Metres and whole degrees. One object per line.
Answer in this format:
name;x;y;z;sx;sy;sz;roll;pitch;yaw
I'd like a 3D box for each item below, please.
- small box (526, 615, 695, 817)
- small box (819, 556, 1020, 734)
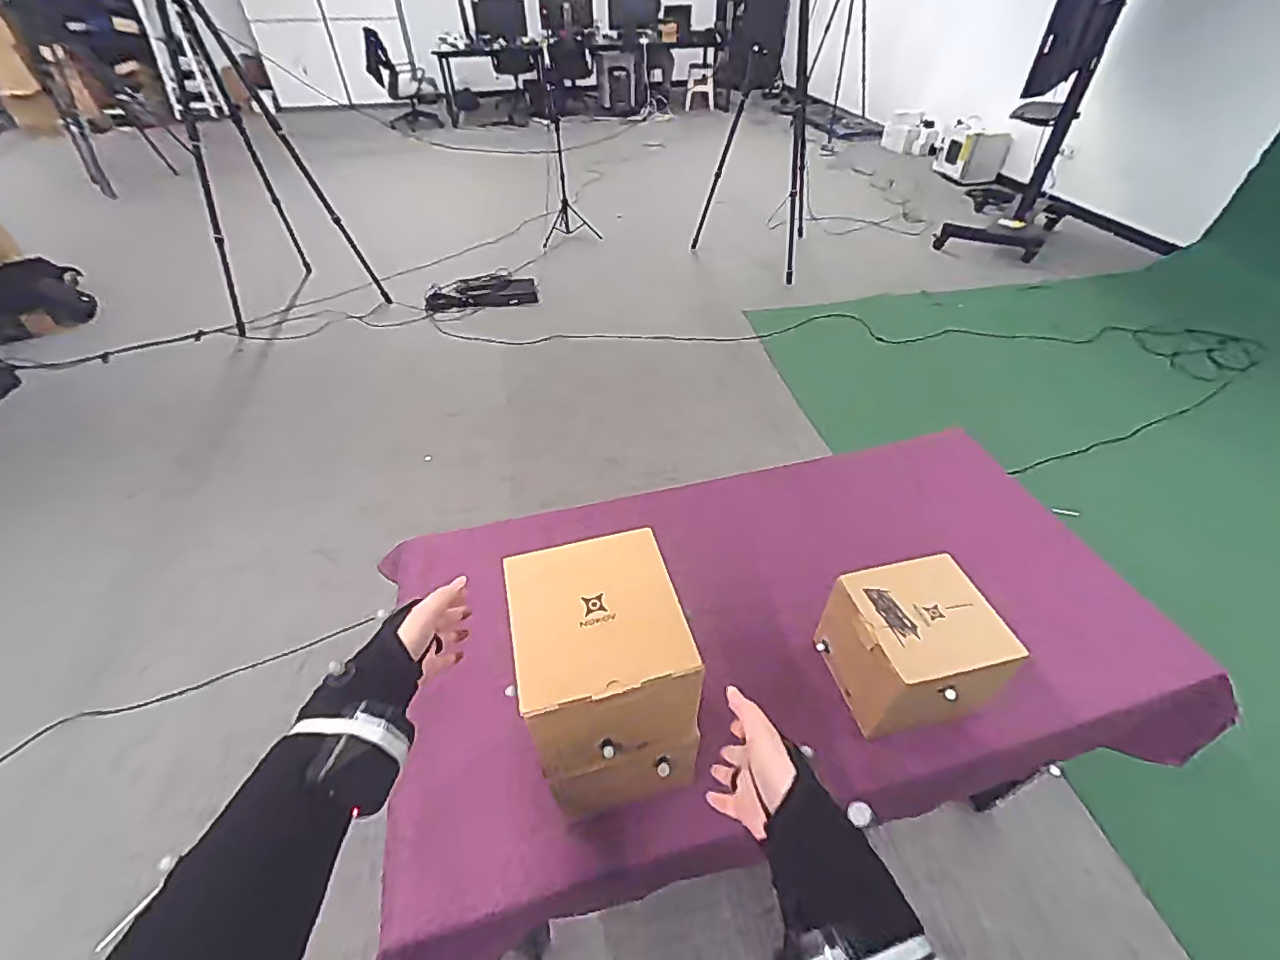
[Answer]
small box;-0.041;0.304;0.700;0.179;0.176;0.168;-11;45;-10
small box;0.371;0.235;0.765;0.179;0.176;0.168;-9;45;-9
